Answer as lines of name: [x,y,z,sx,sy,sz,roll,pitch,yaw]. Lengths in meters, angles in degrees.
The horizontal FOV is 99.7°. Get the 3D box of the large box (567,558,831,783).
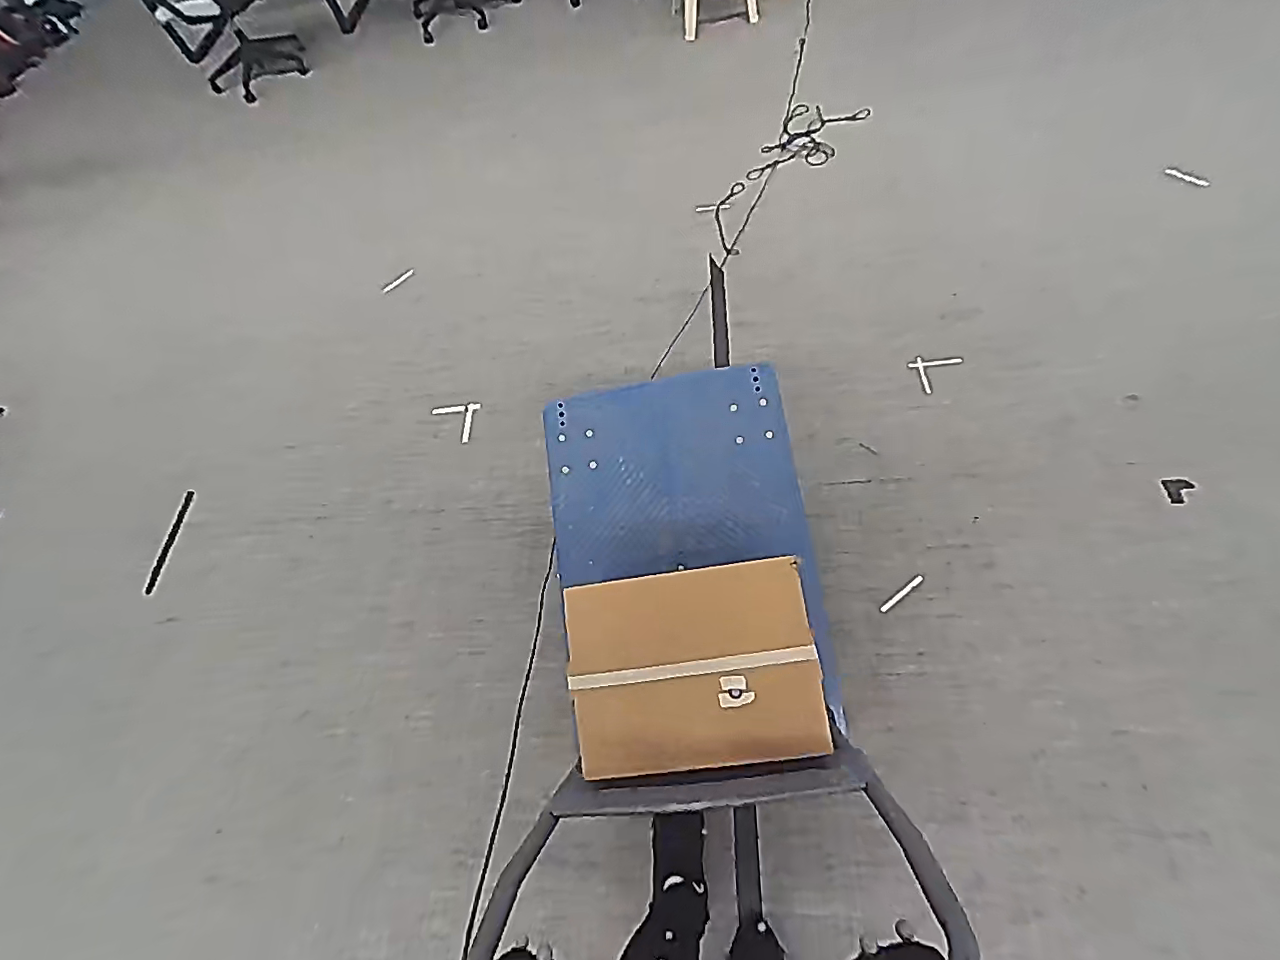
large box: [0.105,0.347,1.052,0.408,0.320,0.320,-10,78,5]
